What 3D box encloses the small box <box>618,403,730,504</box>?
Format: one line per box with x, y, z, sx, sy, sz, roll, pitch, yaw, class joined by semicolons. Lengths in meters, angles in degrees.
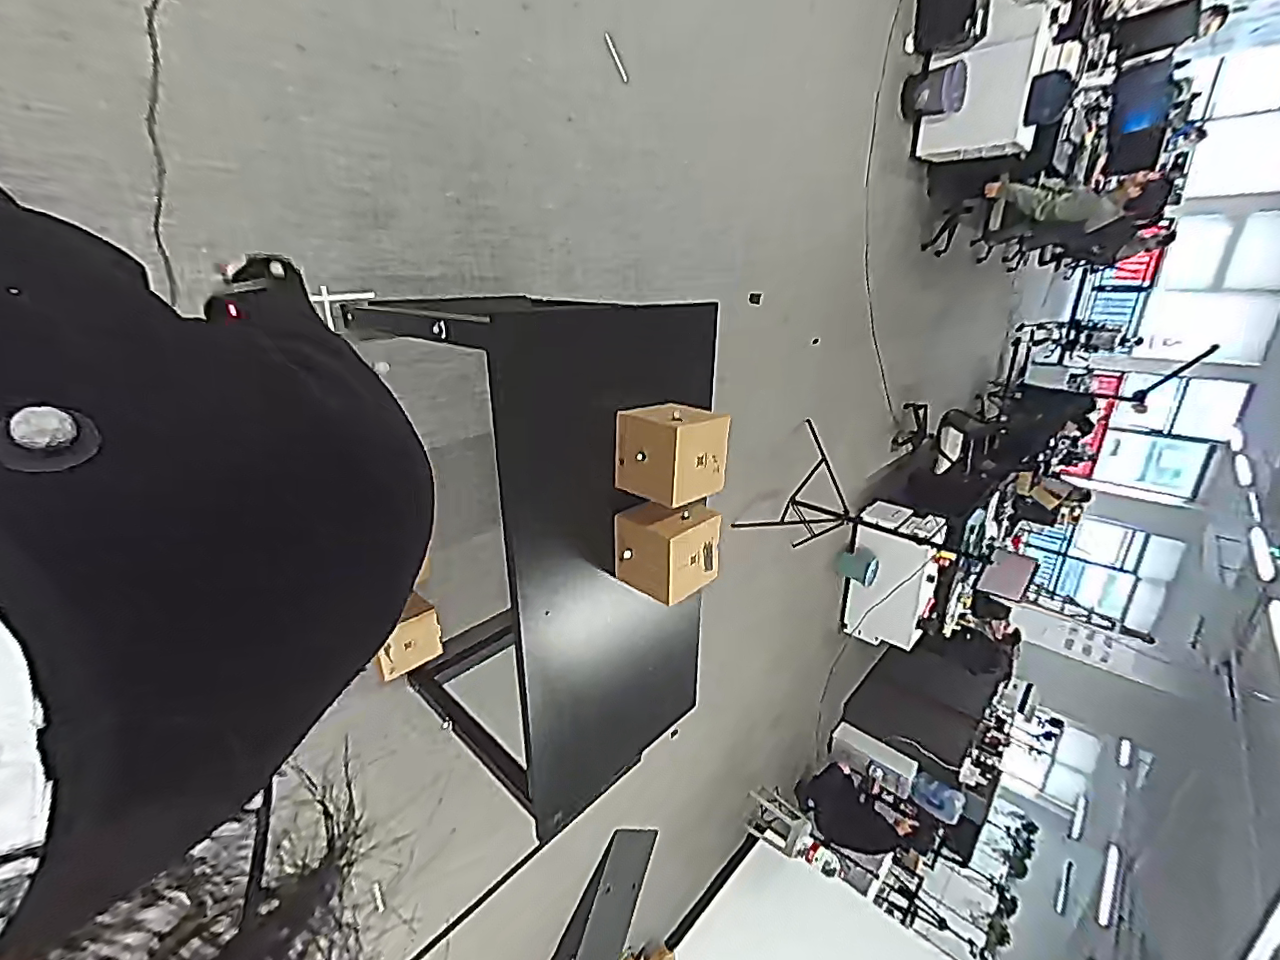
0.068;-0.064;1.144;0.179;0.176;0.168;-17;117;-44;small box

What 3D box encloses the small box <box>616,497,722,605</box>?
0.064;0.148;1.220;0.179;0.176;0.168;-20;119;-42;small box

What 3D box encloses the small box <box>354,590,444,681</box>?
-0.709;0.449;1.594;0.179;0.176;0.168;-22;119;-43;small box
